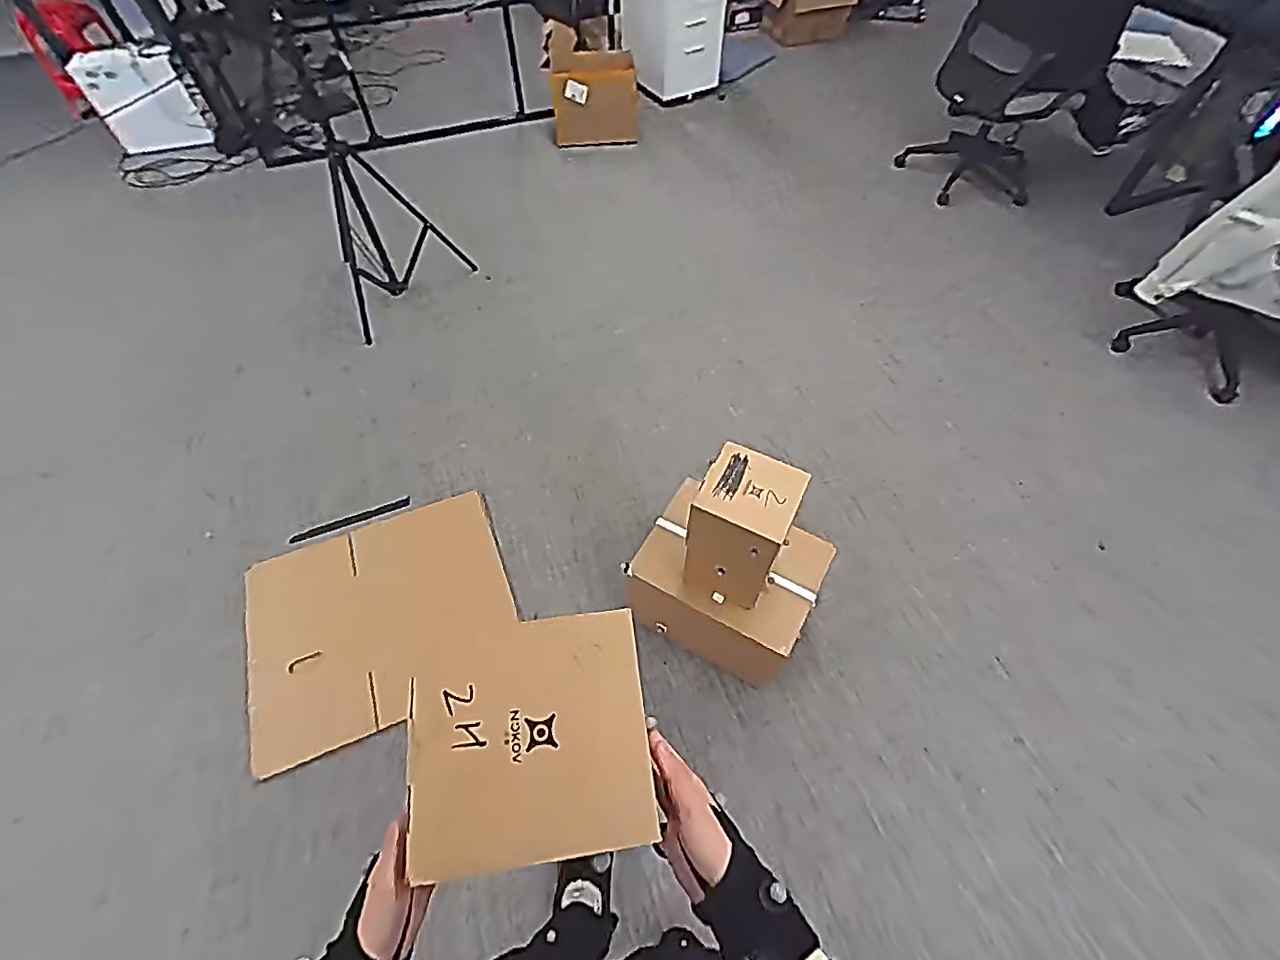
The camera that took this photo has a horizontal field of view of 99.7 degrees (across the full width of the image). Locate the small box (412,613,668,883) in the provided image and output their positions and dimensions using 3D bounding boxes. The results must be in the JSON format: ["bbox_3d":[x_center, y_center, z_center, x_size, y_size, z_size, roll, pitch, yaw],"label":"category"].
[{"bbox_3d":[-0.082,0.221,0.472,0.179,0.176,0.168,-5,65,-7],"label":"small box"}]

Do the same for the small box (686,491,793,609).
[{"bbox_3d":[0.212,0.160,1.193,0.179,0.176,0.168,24,60,14],"label":"small box"}]
